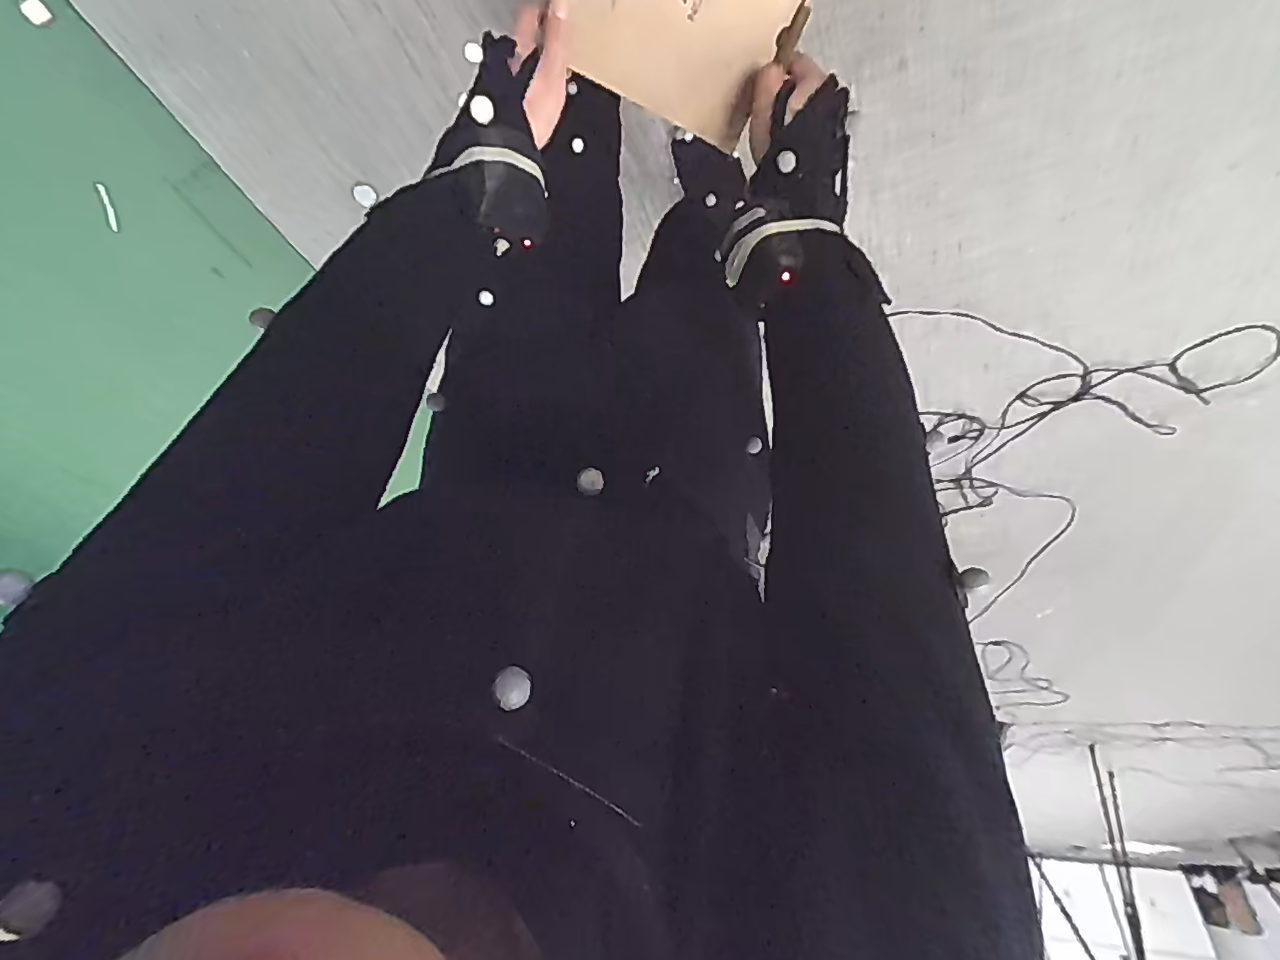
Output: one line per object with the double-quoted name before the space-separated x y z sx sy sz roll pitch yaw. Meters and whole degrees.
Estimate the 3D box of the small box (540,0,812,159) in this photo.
"small box" 0.036 -0.405 0.453 0.179 0.176 0.168 20 126 -12
